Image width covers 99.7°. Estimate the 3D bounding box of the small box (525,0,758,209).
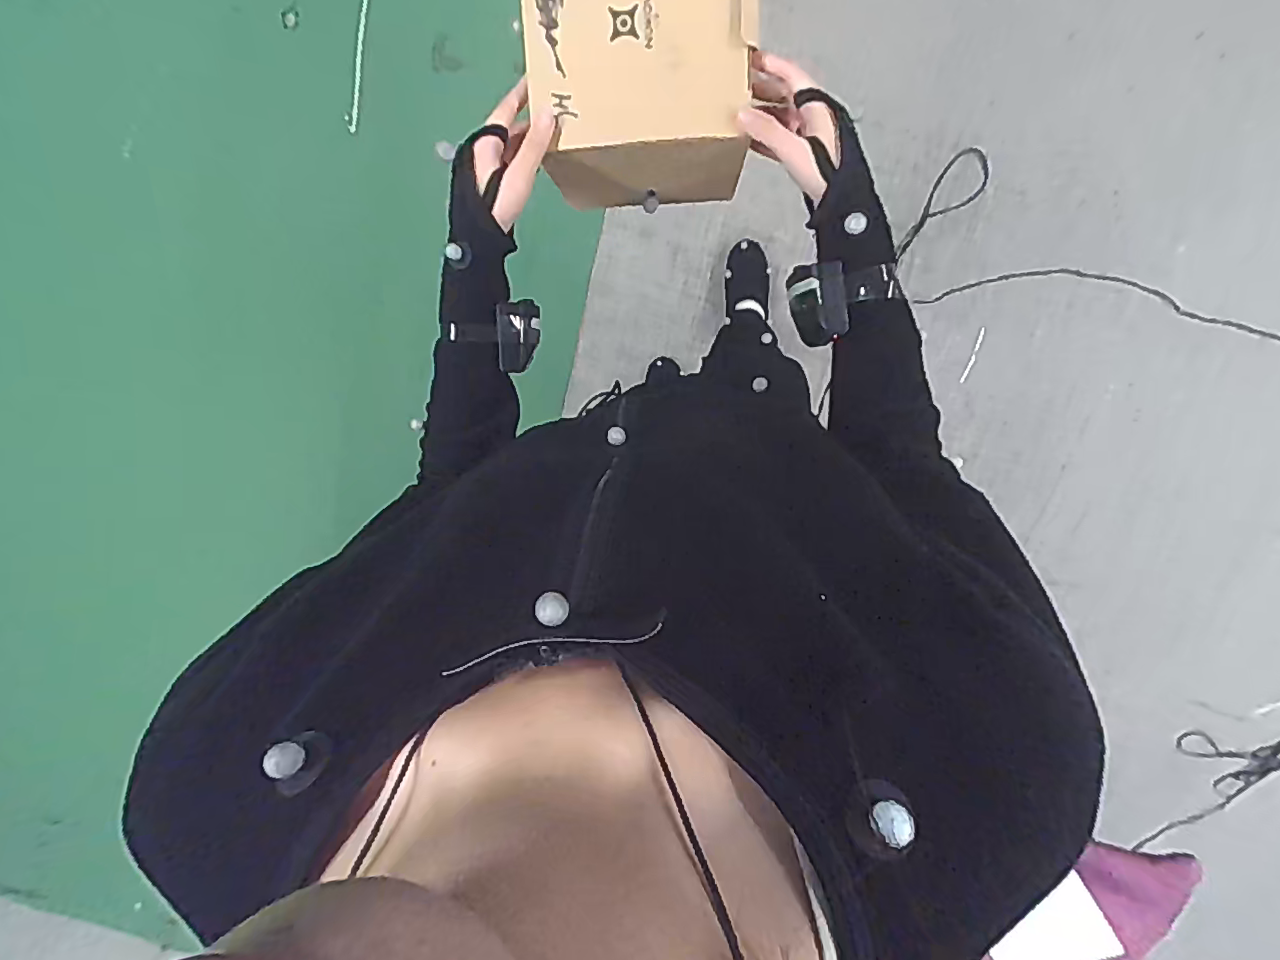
[{"bbox_3d":[0.005,-0.356,0.484,0.179,0.176,0.168,-1,101,4],"label":"small box"}]
